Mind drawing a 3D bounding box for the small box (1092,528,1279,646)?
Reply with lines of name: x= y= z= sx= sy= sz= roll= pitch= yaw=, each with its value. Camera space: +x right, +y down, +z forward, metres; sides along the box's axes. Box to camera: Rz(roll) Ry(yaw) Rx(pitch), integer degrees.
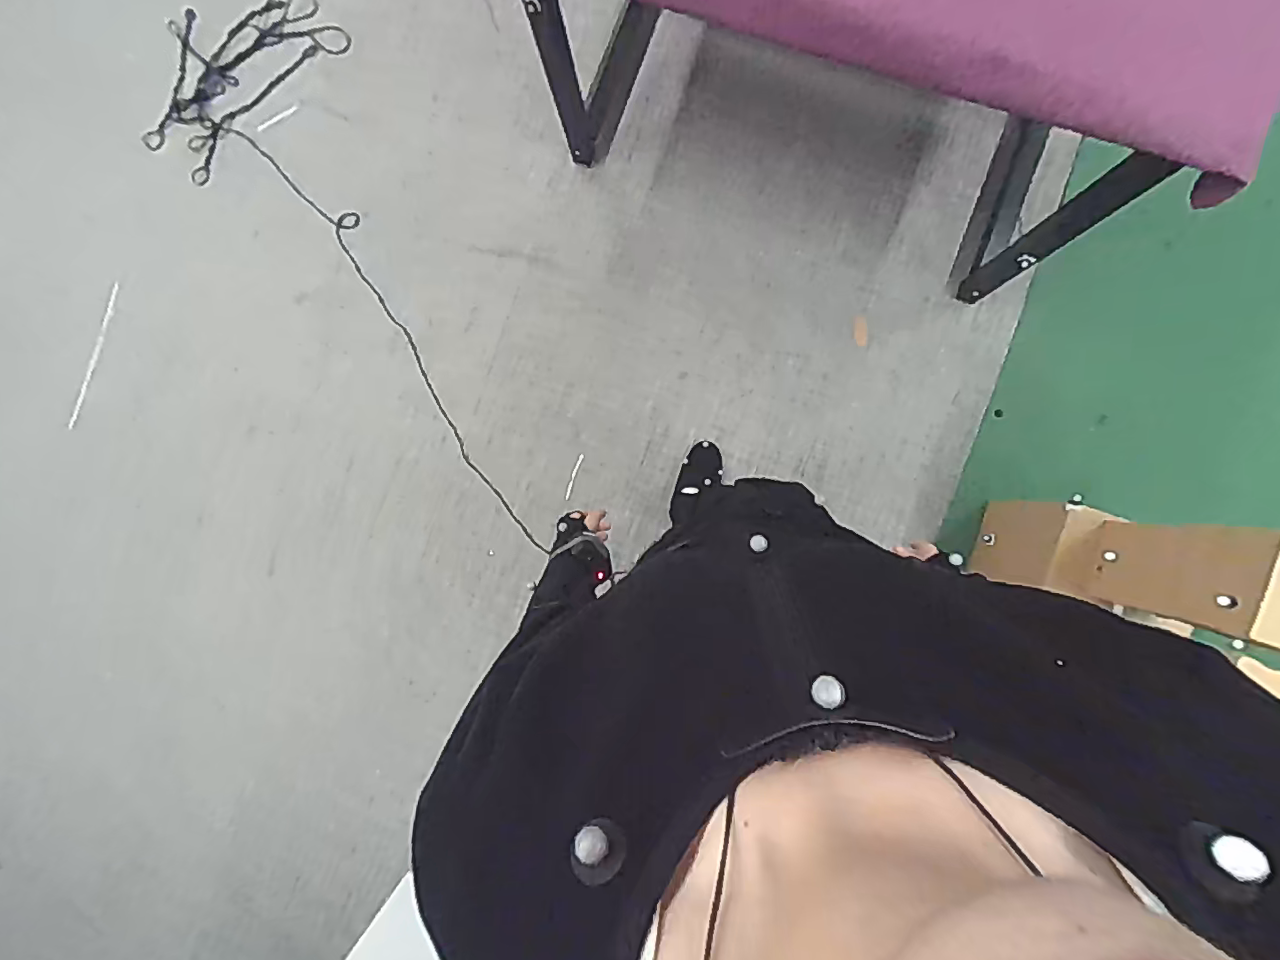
small box: x=1.033 y=0.193 z=1.034 sx=0.179 sy=0.176 sz=0.168 roll=16 pitch=89 yaw=5
